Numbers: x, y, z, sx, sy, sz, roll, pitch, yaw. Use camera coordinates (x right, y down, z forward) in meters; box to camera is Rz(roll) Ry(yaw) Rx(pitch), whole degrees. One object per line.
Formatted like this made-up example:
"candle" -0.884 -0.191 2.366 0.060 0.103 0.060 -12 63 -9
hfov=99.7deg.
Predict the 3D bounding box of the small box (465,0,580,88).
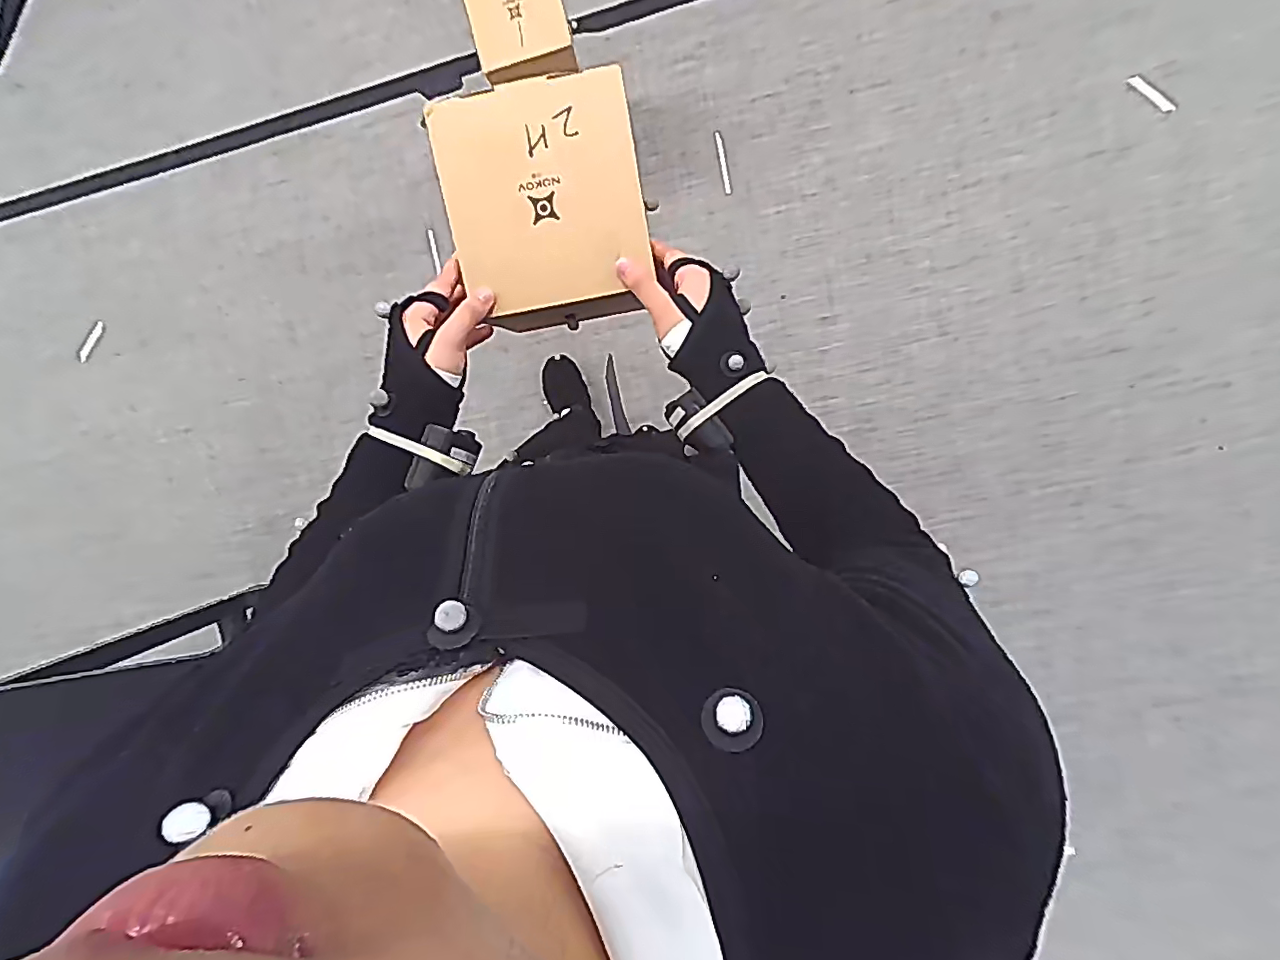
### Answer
"small box" -0.210 -0.815 1.015 0.168 0.176 0.179 -14 95 6

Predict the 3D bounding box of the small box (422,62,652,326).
"small box" -0.081 -0.254 0.530 0.168 0.176 0.179 -10 101 3
